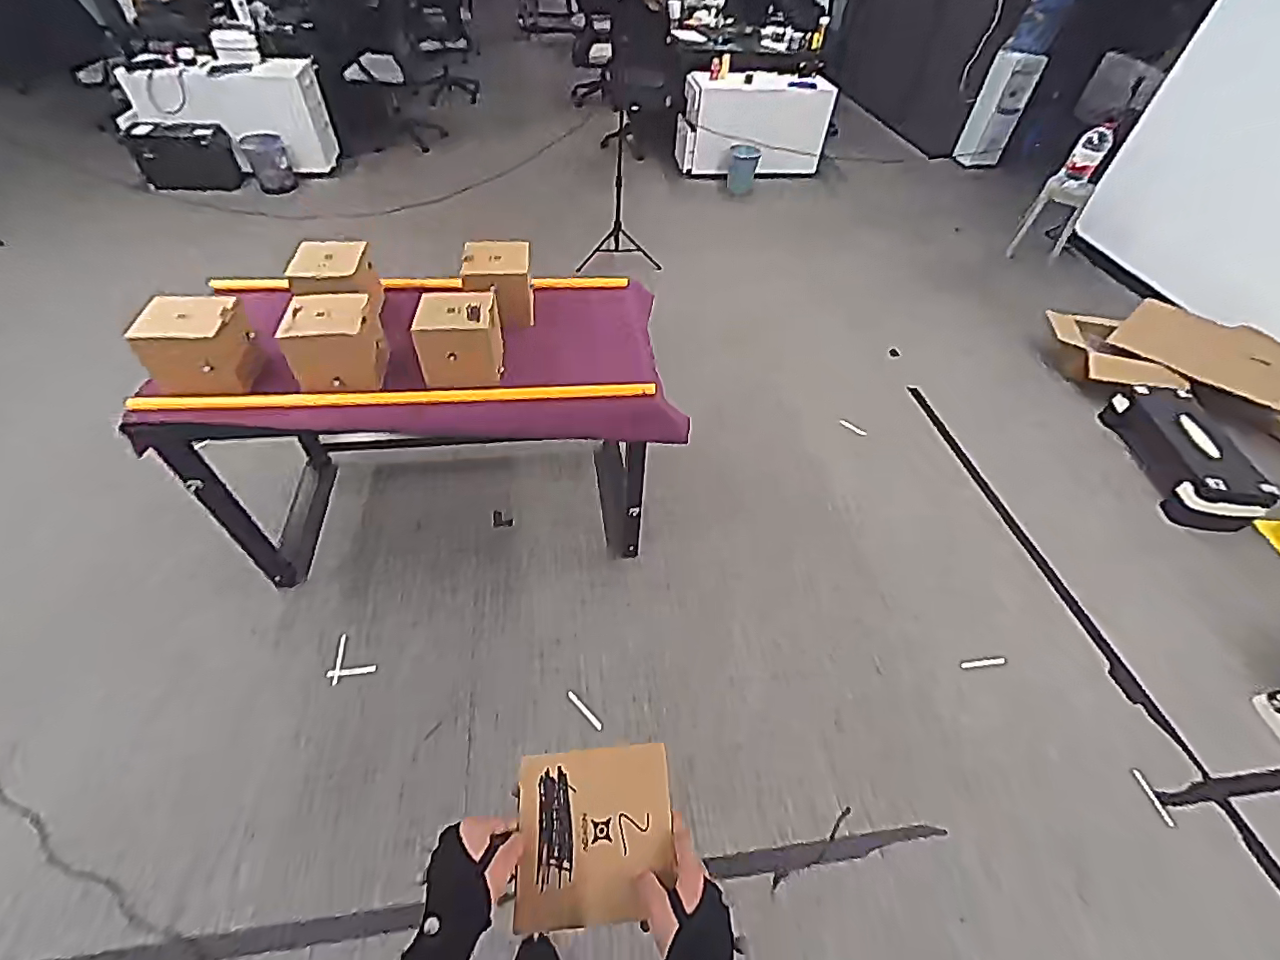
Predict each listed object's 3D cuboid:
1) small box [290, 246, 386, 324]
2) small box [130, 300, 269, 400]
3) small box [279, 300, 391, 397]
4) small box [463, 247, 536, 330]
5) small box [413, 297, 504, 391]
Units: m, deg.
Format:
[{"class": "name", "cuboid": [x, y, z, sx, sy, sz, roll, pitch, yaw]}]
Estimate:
[{"class": "small box", "cuboid": [-0.808, -0.513, 1.469, 0.168, 0.176, 0.179, -3, 51, -7]}, {"class": "small box", "cuboid": [-1.013, -0.301, 1.267, 0.179, 0.176, 0.168, -2, 49, -9]}, {"class": "small box", "cuboid": [-0.720, -0.315, 1.304, 0.179, 0.176, 0.168, -4, 49, -8]}, {"class": "small box", "cuboid": [-0.388, -0.535, 1.522, 0.179, 0.176, 0.168, -4, 50, -6]}, {"class": "small box", "cuboid": [-0.438, -0.335, 1.342, 0.179, 0.176, 0.168, -2, 48, -5]}]
